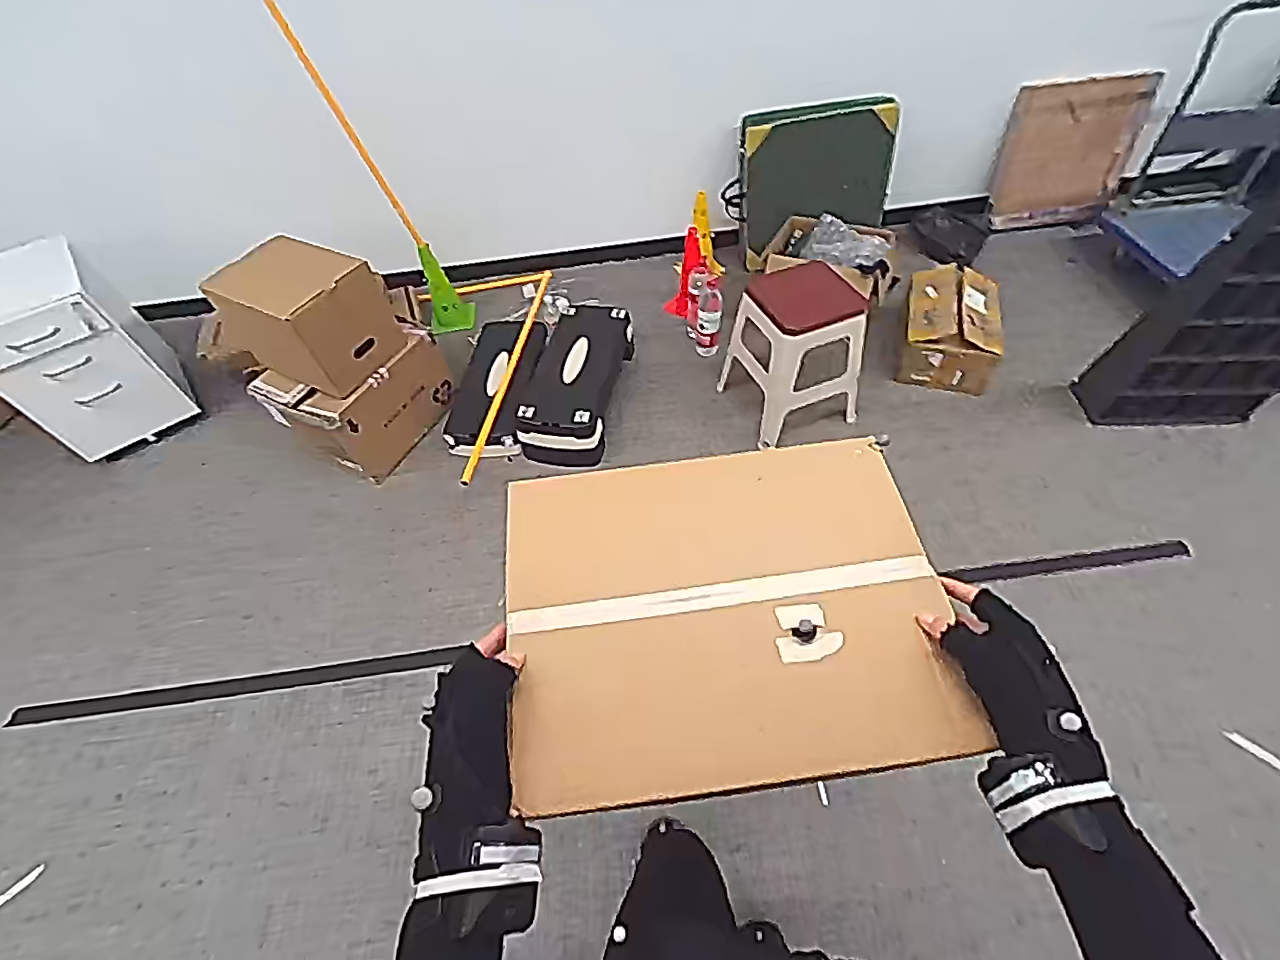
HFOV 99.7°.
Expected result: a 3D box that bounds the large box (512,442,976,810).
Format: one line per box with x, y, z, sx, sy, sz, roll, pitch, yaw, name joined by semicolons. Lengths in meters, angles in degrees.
0.079;0.190;0.656;0.408;0.320;0.320;-8;59;-2;large box
